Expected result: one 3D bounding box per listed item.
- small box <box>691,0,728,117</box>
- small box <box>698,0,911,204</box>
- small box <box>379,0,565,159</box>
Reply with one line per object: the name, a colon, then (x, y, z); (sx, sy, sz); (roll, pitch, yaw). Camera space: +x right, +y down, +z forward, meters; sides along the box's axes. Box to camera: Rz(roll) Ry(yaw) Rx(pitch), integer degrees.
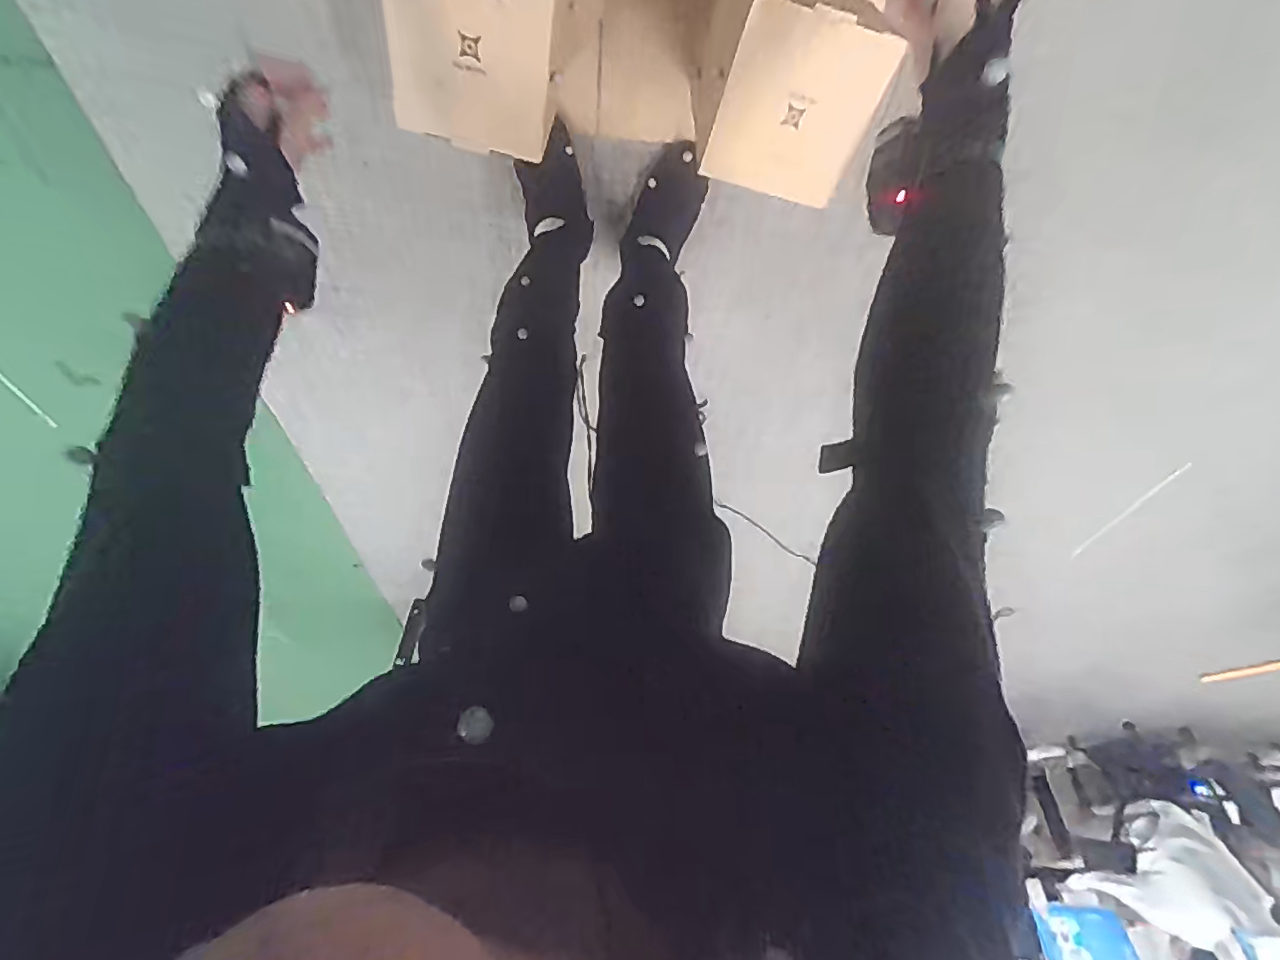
small box: (0.170, -0.596, 0.727); (0.168, 0.176, 0.179); (8, 141, -9)
small box: (0.170, -0.465, 0.628); (0.168, 0.176, 0.179); (11, 141, -11)
small box: (-0.175, -0.502, 0.599); (0.168, 0.176, 0.179); (9, 141, -10)
